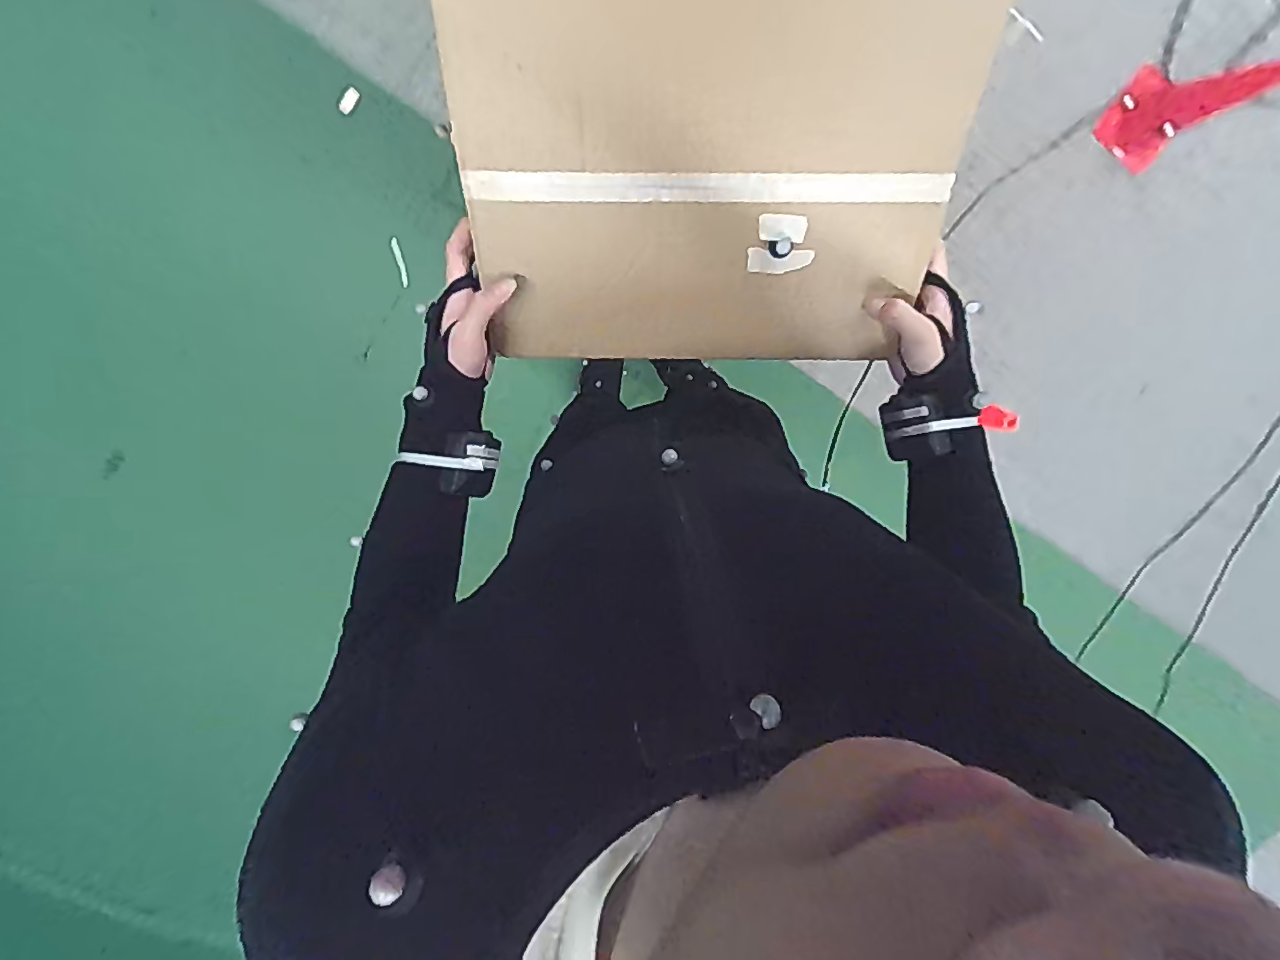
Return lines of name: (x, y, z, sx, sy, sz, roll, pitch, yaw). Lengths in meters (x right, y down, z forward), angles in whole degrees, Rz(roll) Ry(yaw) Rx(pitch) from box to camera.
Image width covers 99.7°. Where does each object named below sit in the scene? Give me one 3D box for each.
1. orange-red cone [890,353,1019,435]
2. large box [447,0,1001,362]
orange-red cone: (0.896, -0.202, 1.481, 0.199, 0.360, 0.198, 36, 103, -15)
large box: (0.057, -0.334, 0.576, 0.408, 0.320, 0.320, 0, 128, -1)
